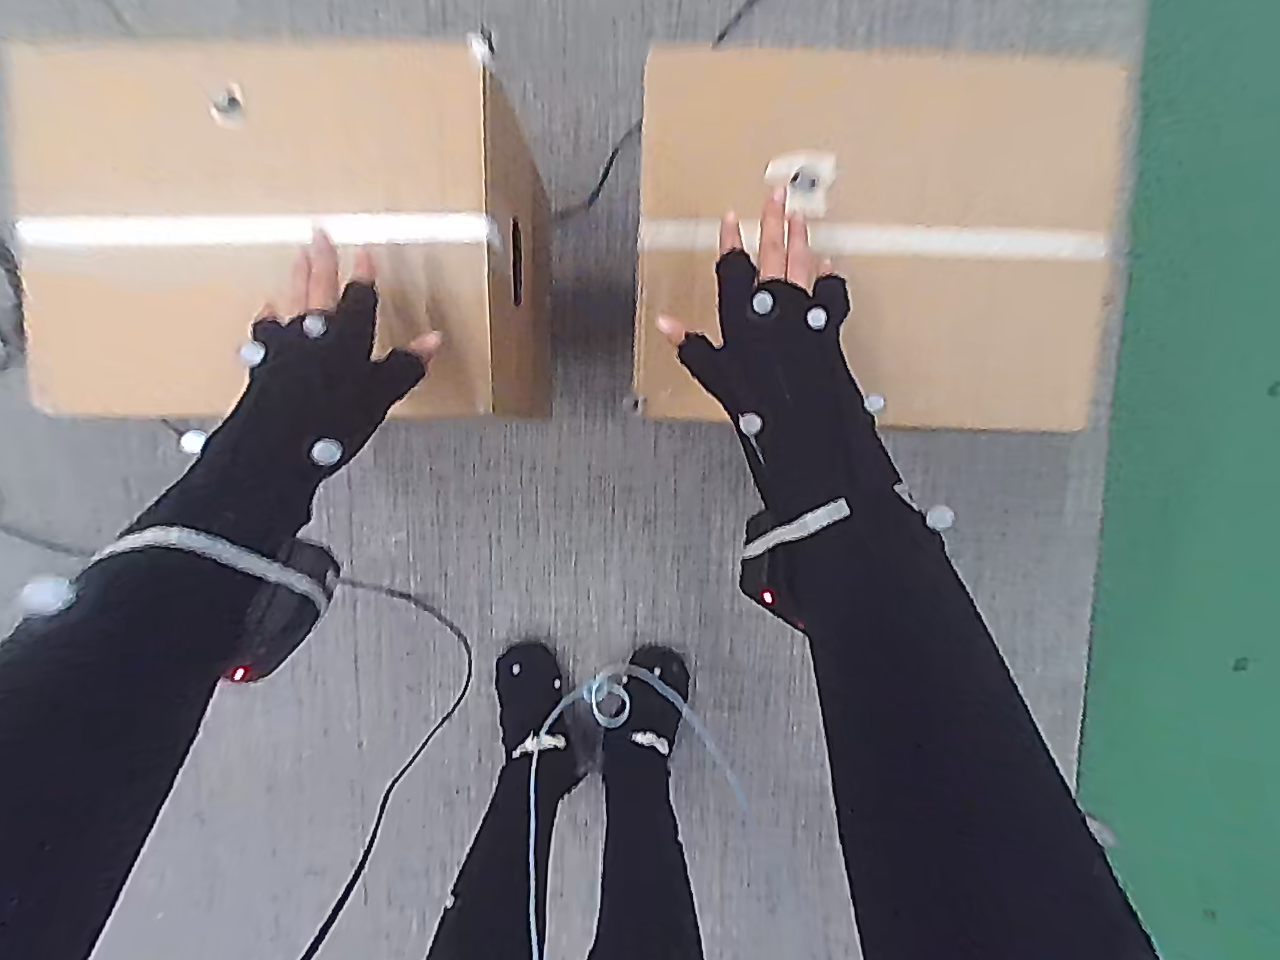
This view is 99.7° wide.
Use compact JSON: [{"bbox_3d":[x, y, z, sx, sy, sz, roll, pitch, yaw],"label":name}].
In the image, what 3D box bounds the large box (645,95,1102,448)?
[{"bbox_3d":[0.214,-0.206,0.648,0.408,0.320,0.320,3,95,1],"label":"large box"}]
